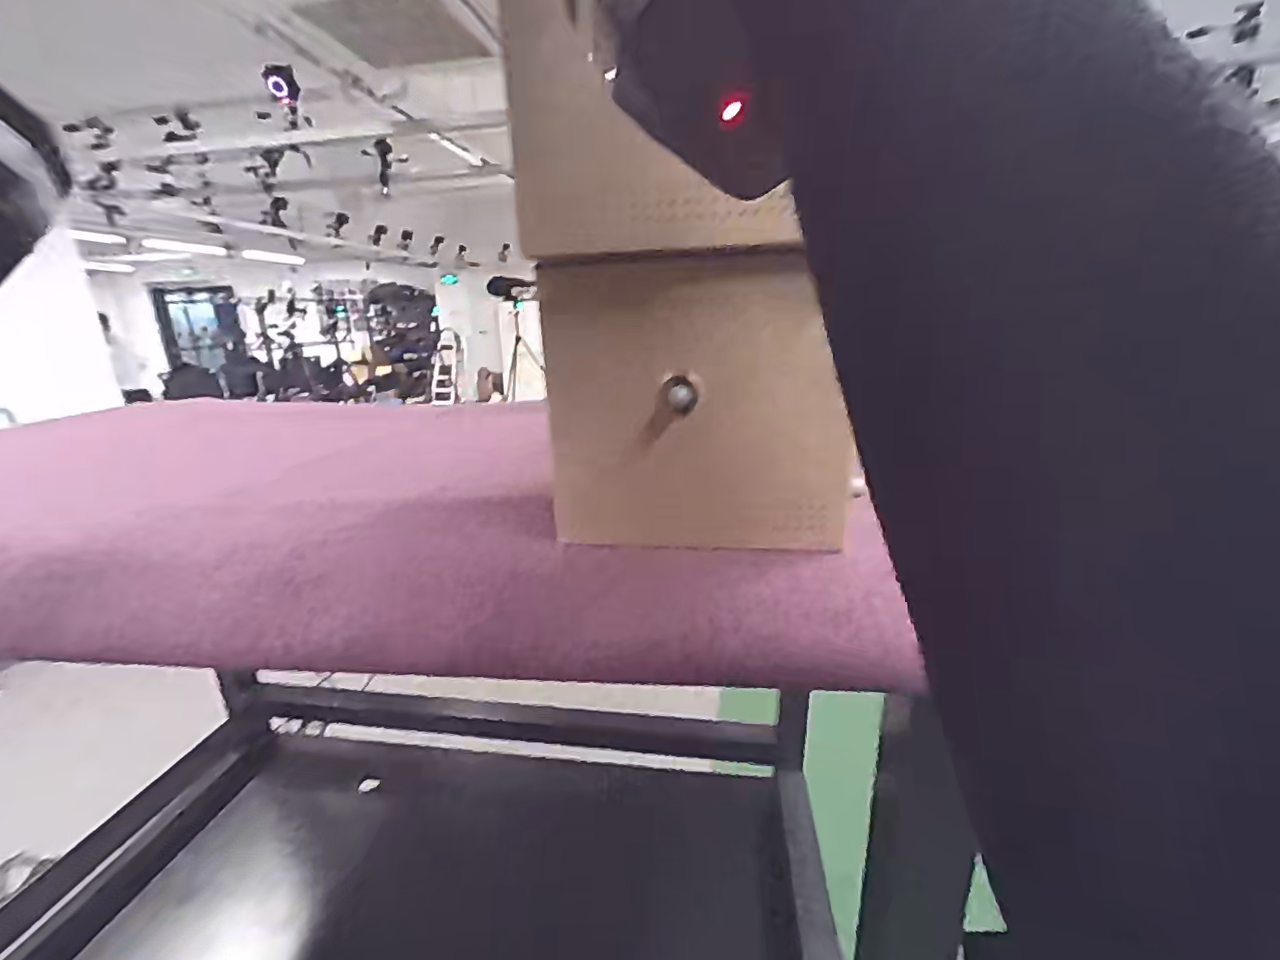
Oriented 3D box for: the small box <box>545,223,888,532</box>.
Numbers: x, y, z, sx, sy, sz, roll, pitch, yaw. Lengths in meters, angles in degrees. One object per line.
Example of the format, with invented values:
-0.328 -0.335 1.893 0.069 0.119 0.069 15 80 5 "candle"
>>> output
0.050 -0.070 0.372 0.179 0.176 0.168 0 18 10 "small box"
